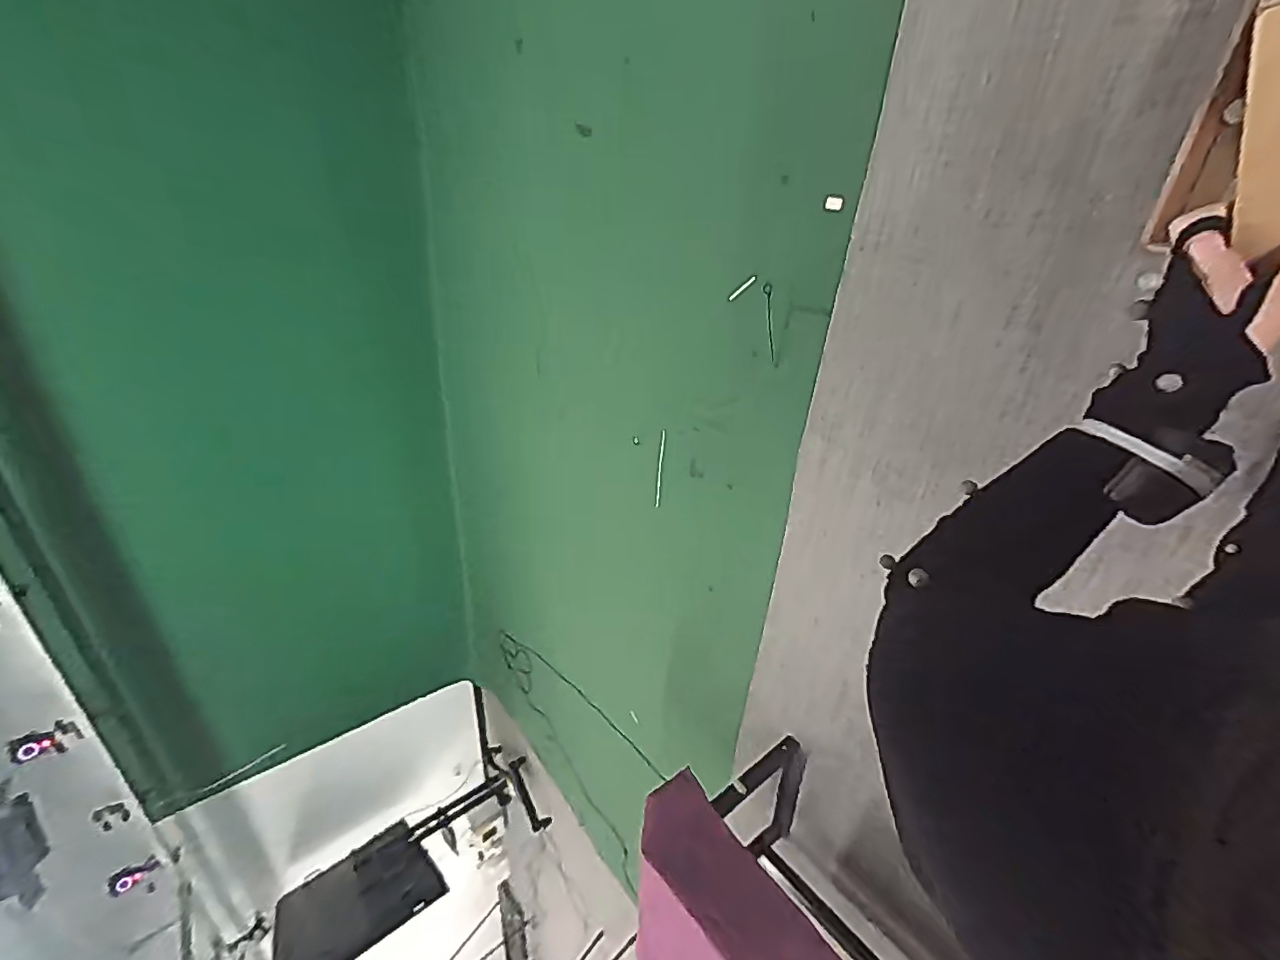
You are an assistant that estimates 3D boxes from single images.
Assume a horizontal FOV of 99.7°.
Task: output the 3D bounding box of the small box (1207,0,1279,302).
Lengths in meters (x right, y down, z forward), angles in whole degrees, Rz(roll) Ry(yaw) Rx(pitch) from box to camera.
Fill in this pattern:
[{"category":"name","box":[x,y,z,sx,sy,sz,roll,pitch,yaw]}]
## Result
[{"category":"small box","box":[0.468,-0.232,0.314,0.168,0.176,0.179,11,141,46]}]
